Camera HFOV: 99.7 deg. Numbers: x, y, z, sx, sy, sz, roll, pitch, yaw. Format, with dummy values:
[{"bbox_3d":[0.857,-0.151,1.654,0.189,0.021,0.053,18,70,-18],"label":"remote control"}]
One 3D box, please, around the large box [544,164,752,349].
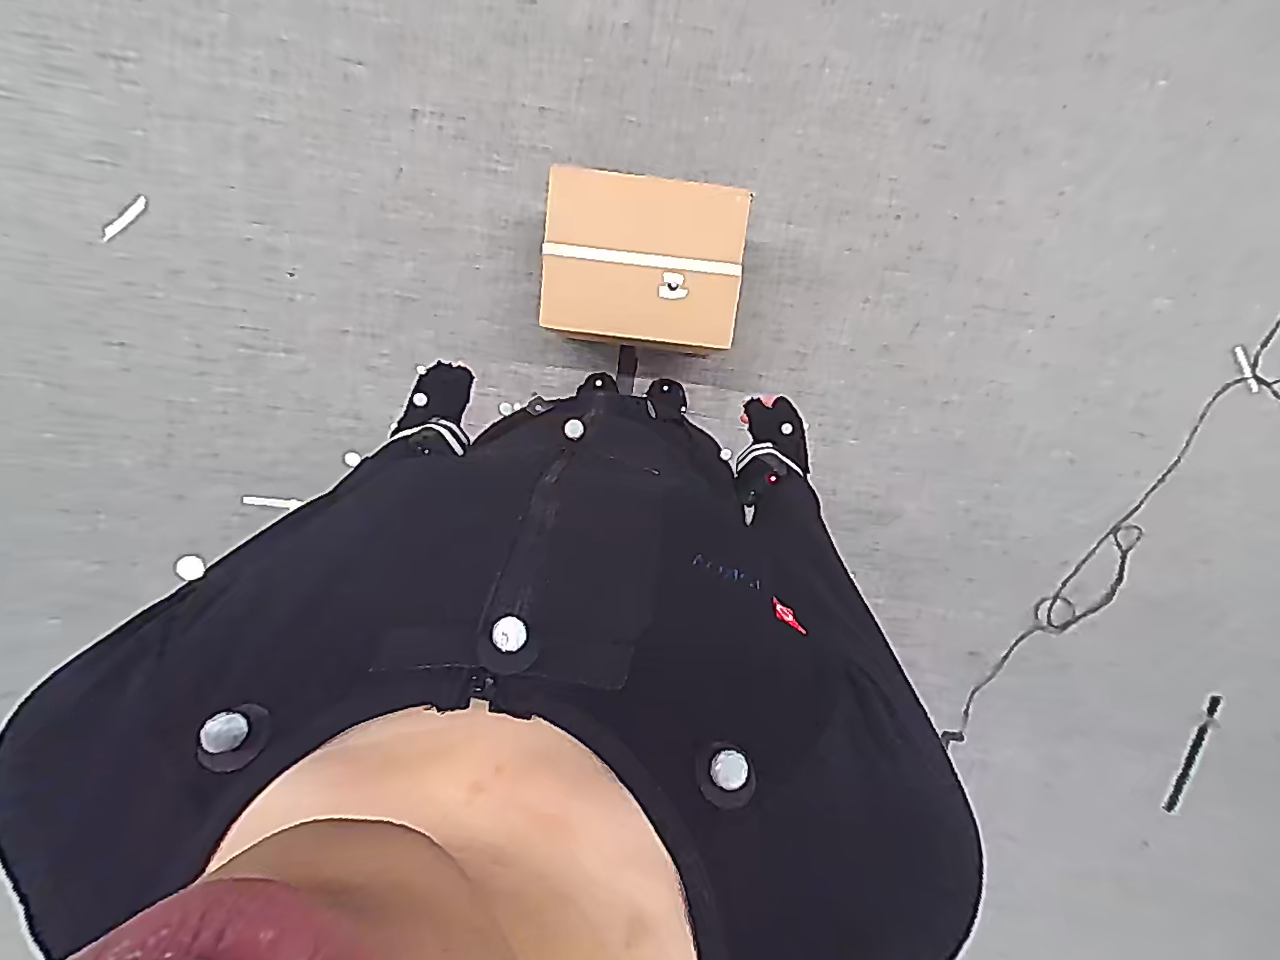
[{"bbox_3d":[0.007,-0.481,1.240,0.408,0.320,0.320,6,102,-2],"label":"large box"}]
